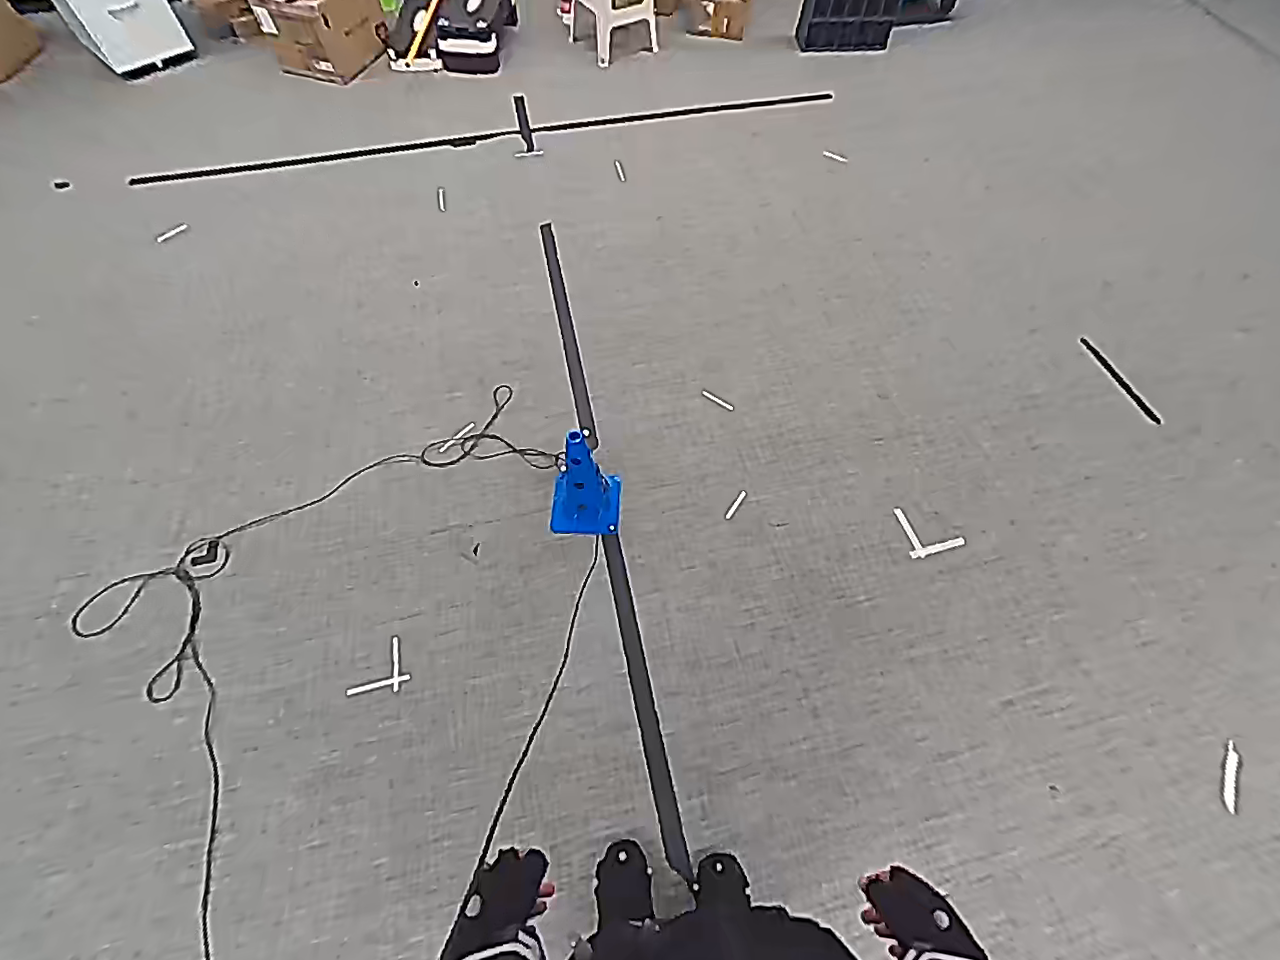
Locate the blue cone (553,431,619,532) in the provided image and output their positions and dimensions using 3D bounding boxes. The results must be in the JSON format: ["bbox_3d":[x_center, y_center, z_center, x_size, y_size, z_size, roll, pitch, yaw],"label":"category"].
[{"bbox_3d":[-0.156,-0.012,1.474,0.192,0.380,0.193,4,60,0],"label":"blue cone"}]
